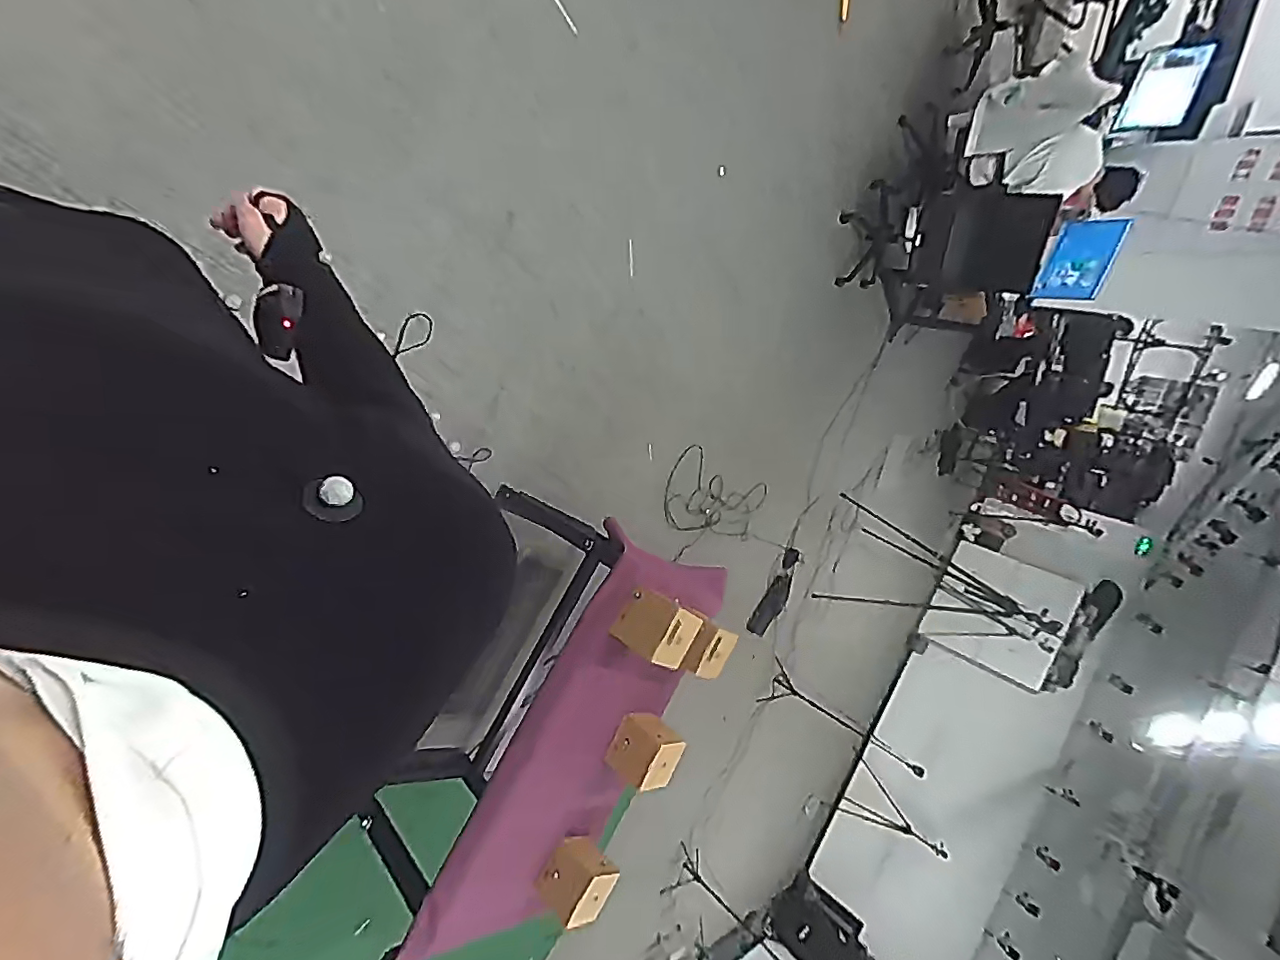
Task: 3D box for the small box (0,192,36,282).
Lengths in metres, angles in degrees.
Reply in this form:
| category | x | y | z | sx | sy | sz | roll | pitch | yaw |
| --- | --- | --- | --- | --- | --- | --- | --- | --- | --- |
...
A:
| category | x | y | z | sx | sy | sz | roll | pitch | yaw |
| --- | --- | --- | --- | --- | --- | --- | --- | --- | --- |
| small box | -1.197 | -0.450 | 0.921 | 0.179 | 0.176 | 0.168 | 29 | 85 | -44 |

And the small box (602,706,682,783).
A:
| category | x | y | z | sx | sy | sz | roll | pitch | yaw |
| --- | --- | --- | --- | --- | --- | --- | --- | --- | --- |
| small box | 0.006 | 0.882 | 1.821 | 0.179 | 0.176 | 0.168 | 28 | 87 | -51 |

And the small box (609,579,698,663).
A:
| category | x | y | z | sx | sy | sz | roll | pitch | yaw |
| --- | --- | --- | --- | --- | --- | --- | --- | --- | --- |
| small box | 0.038 | 0.414 | 1.600 | 0.168 | 0.176 | 0.179 | -59 | 143 | -7 |

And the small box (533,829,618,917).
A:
| category | x | y | z | sx | sy | sz | roll | pitch | yaw |
| --- | --- | --- | --- | --- | --- | --- | --- | --- | --- |
| small box | -0.212 | 1.275 | 1.770 | 0.168 | 0.176 | 0.179 | -58 | 141 | -11 |
